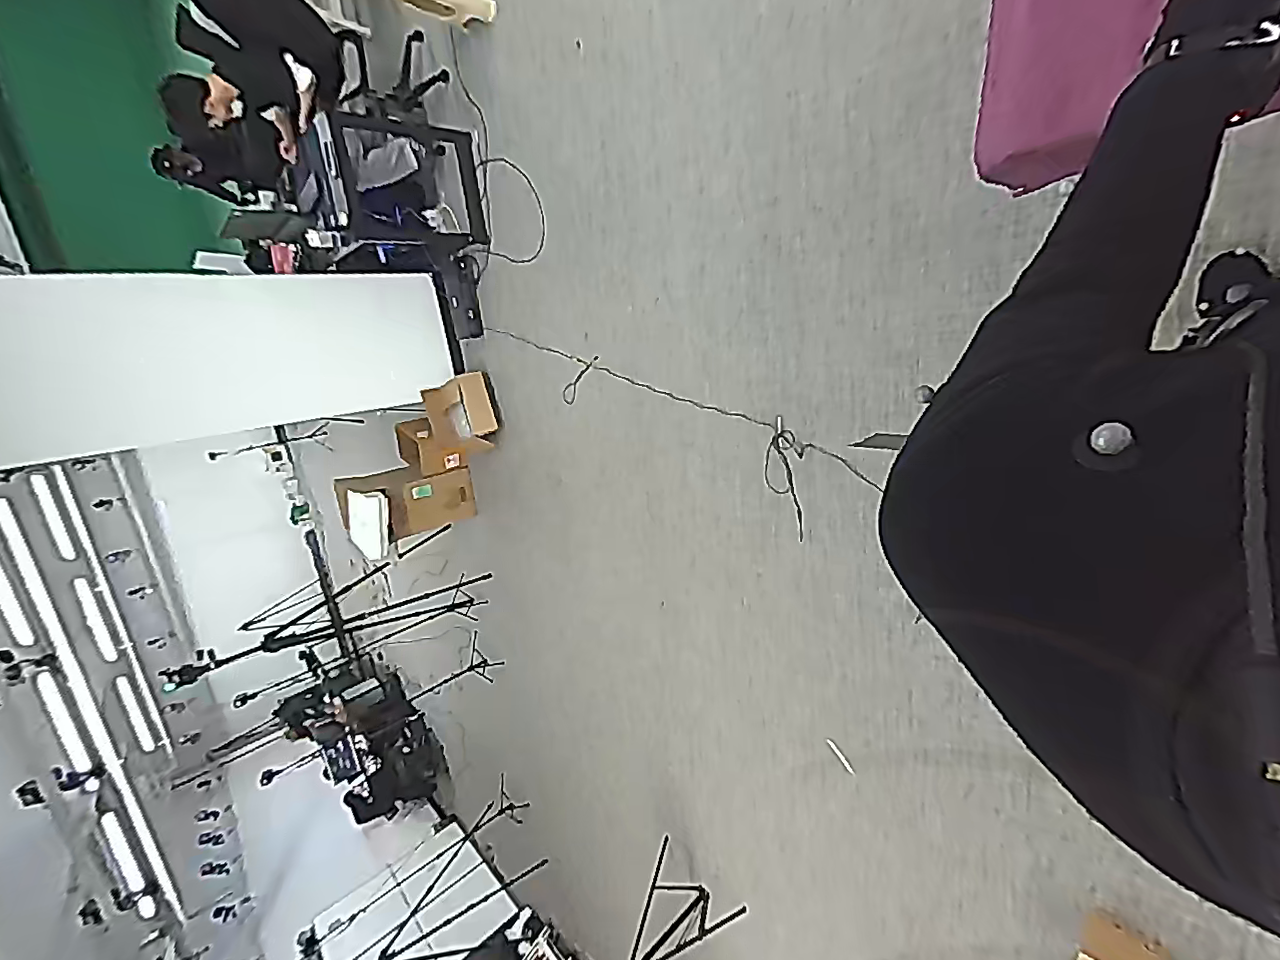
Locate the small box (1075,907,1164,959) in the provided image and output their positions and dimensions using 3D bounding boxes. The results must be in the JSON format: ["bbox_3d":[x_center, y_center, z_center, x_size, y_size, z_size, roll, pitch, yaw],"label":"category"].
[{"bbox_3d":[1.341,1.372,1.521,0.168,0.176,0.179,14,117,47],"label":"small box"}]
